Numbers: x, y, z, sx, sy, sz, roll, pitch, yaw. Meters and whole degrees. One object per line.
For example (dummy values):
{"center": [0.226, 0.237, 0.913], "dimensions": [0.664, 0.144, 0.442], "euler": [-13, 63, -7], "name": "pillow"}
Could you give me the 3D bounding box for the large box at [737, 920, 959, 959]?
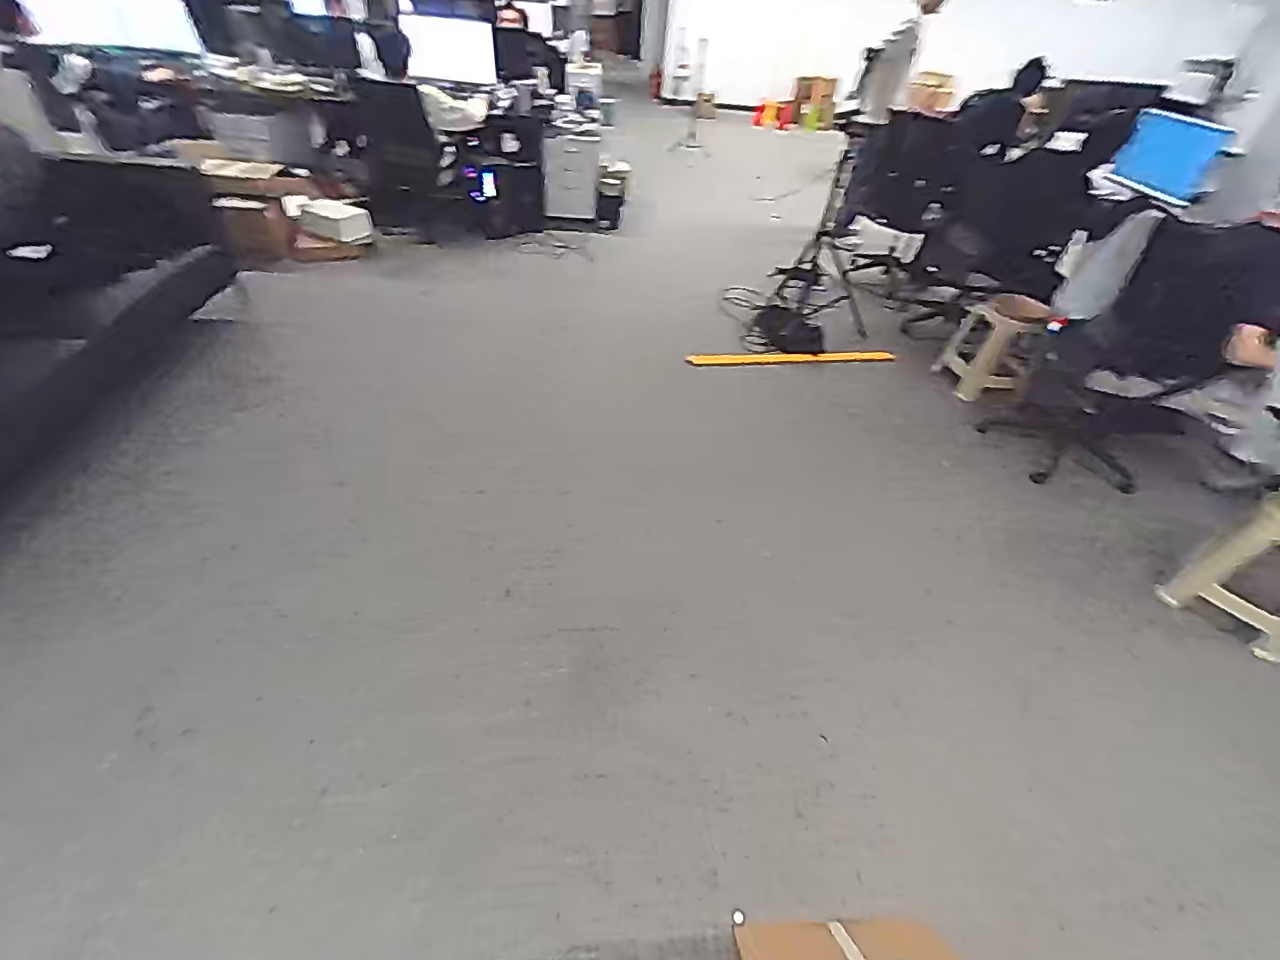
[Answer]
{"center": [0.312, 0.813, 0.632], "dimensions": [0.320, 0.408, 0.320], "euler": [2, 79, -2], "name": "large box"}
